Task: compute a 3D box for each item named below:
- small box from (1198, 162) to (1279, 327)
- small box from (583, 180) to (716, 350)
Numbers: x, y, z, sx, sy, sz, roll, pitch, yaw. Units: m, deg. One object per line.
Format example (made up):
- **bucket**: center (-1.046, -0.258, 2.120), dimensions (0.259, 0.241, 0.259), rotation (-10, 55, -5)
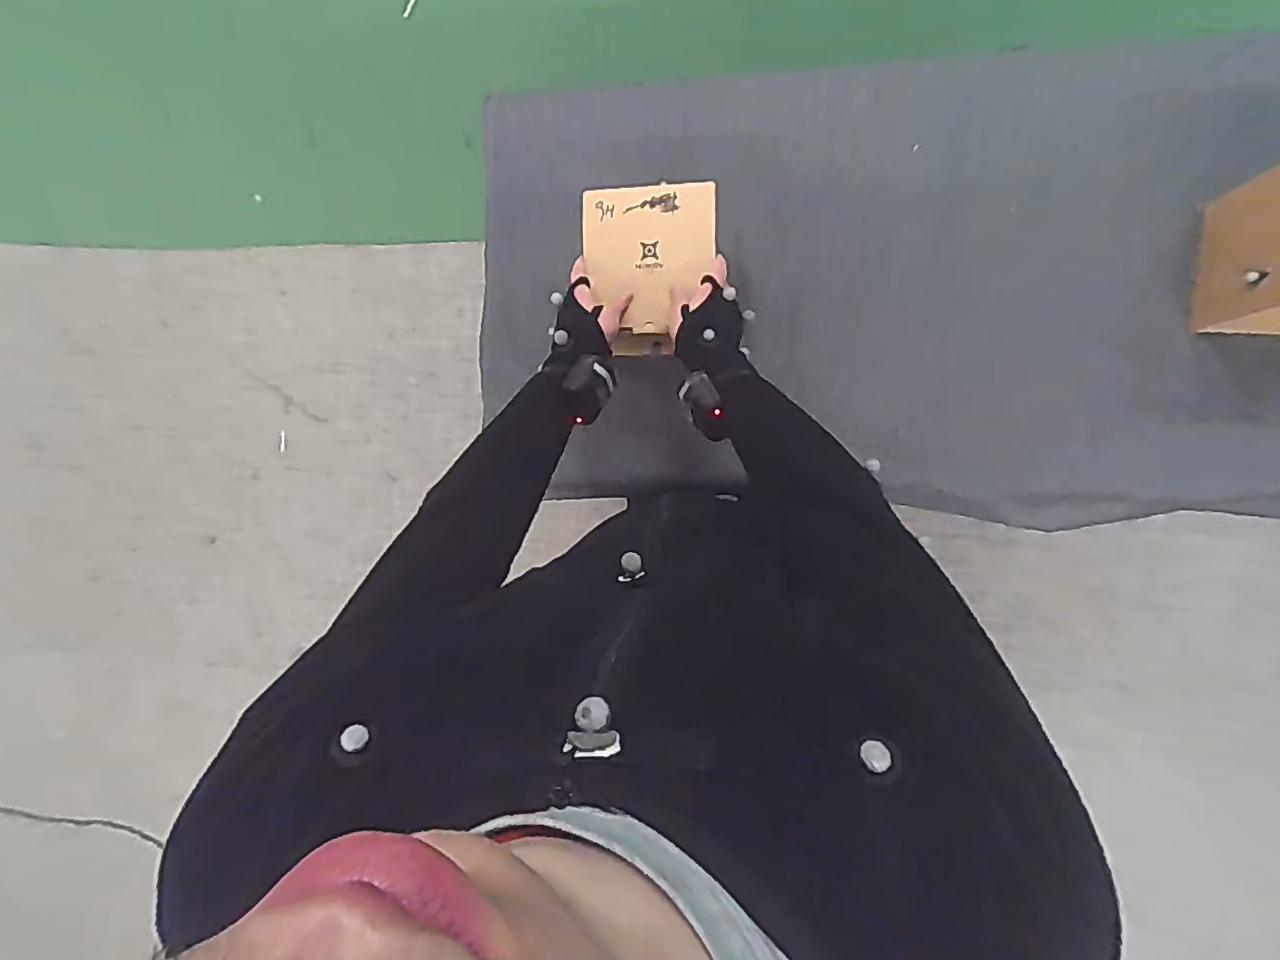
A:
- **small box**: center (0.820, -0.282, 0.634), dimensions (0.168, 0.176, 0.179), rotation (4, 91, 7)
- **small box**: center (0.020, -0.277, 0.741), dimensions (0.168, 0.176, 0.179), rotation (-1, 92, 7)
